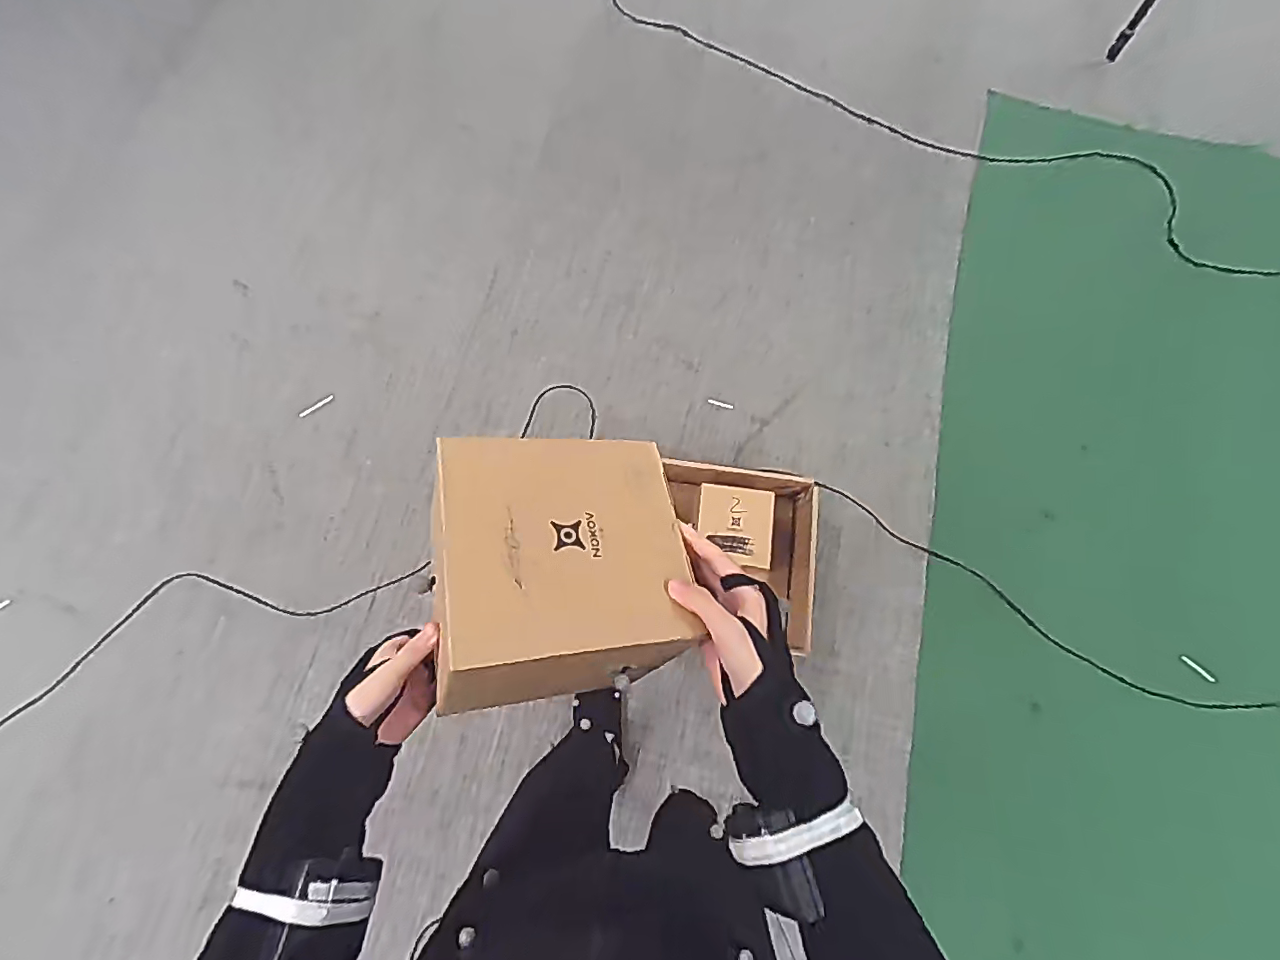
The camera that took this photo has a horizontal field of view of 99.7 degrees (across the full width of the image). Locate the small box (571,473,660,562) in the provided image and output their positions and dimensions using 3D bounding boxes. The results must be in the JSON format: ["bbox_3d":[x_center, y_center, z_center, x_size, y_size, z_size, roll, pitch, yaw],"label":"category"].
[{"bbox_3d":[-0.055,0.094,1.260,0.179,0.176,0.168,9,76,0],"label":"small box"}]
